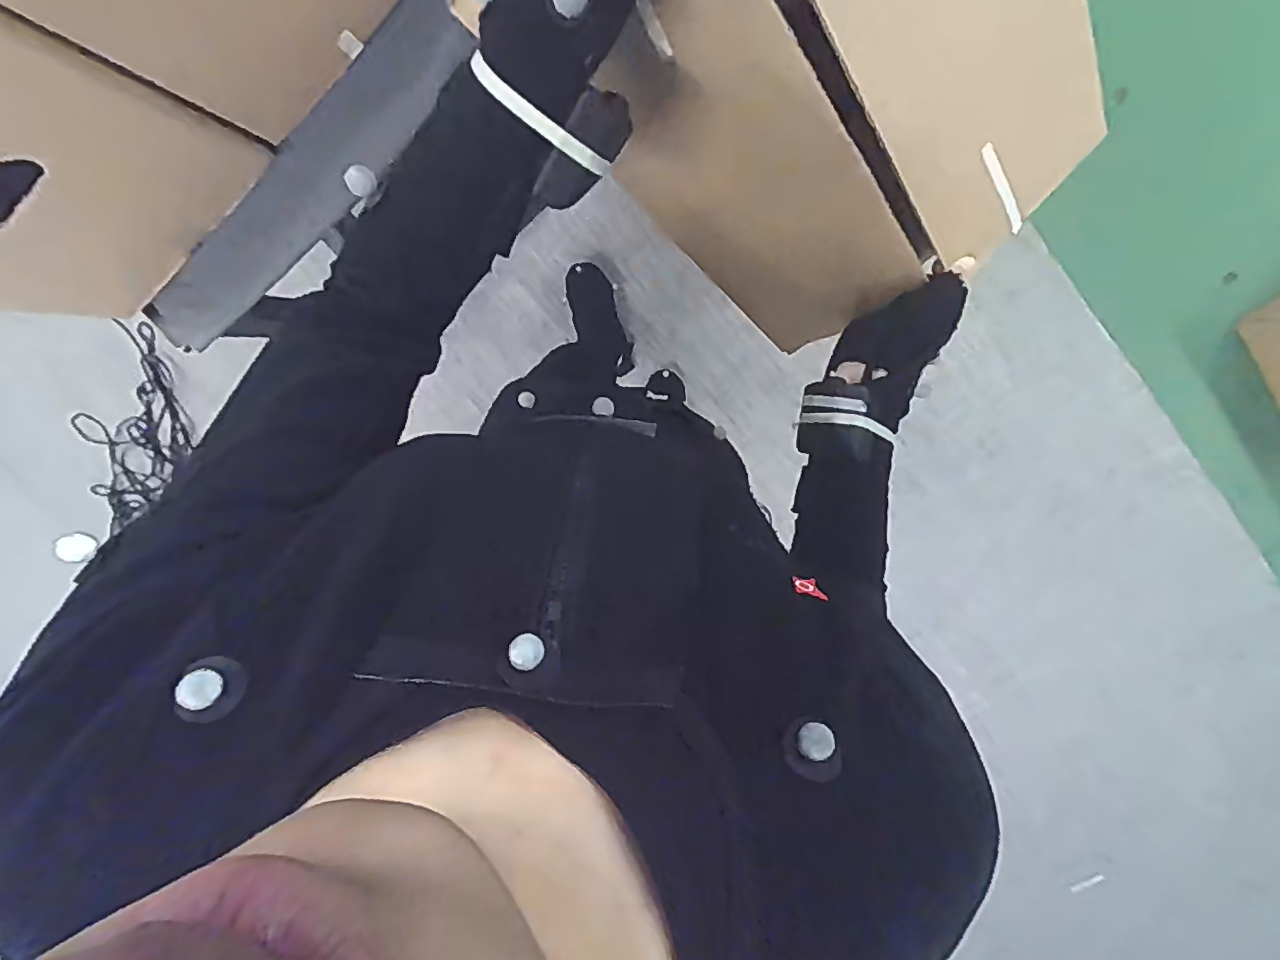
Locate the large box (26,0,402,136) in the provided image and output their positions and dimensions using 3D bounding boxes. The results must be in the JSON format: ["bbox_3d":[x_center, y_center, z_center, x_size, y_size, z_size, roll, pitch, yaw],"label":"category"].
[{"bbox_3d":[-0.468,-0.627,0.472,0.320,0.320,0.408,-39,98,13],"label":"large box"}]
